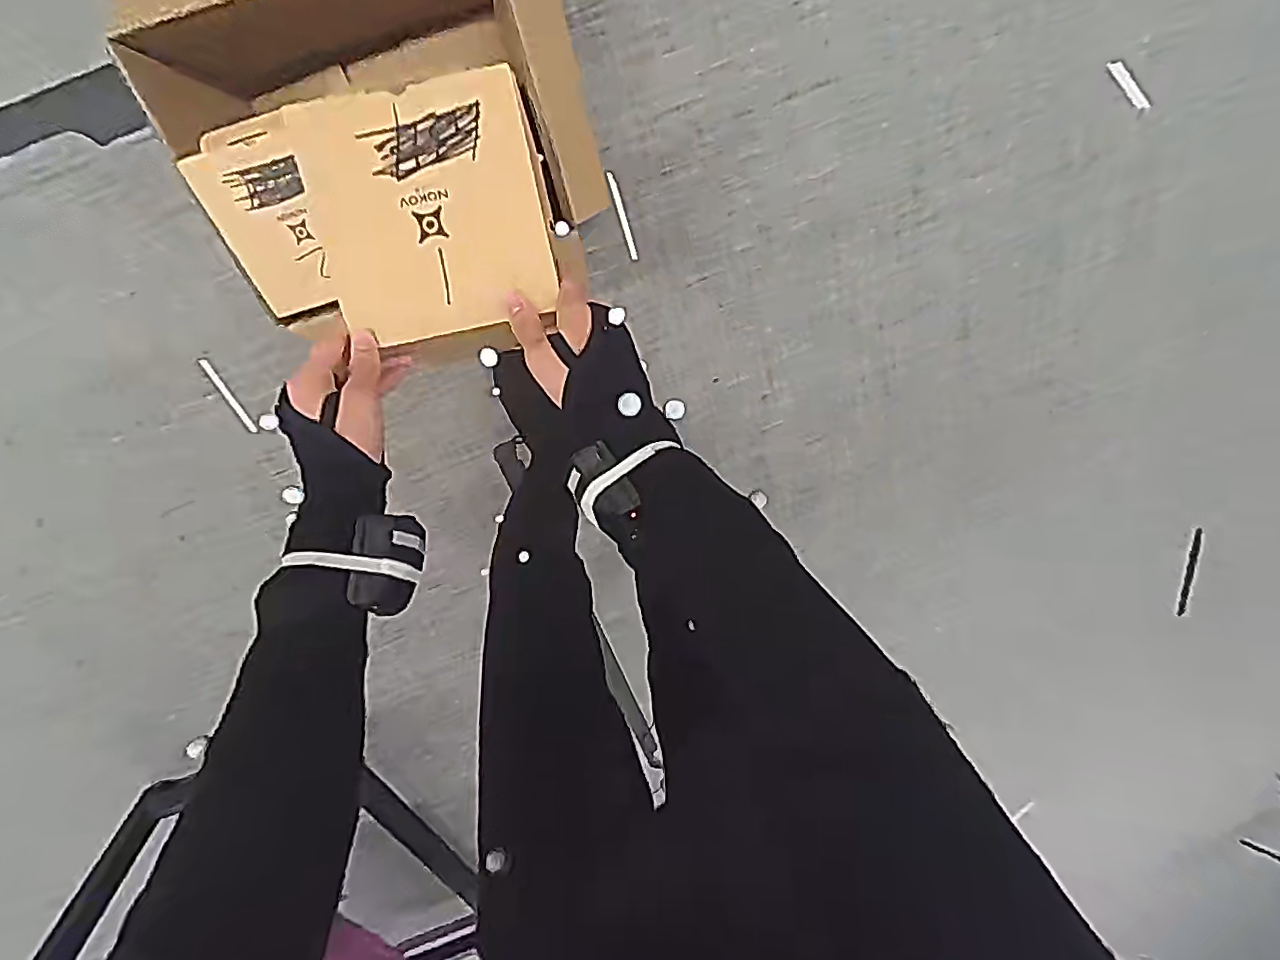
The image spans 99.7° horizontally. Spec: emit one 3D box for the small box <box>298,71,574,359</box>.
[{"bbox_3d":[-0.159,-0.214,0.486,0.168,0.176,0.179,-12,100,-1],"label":"small box"}]
